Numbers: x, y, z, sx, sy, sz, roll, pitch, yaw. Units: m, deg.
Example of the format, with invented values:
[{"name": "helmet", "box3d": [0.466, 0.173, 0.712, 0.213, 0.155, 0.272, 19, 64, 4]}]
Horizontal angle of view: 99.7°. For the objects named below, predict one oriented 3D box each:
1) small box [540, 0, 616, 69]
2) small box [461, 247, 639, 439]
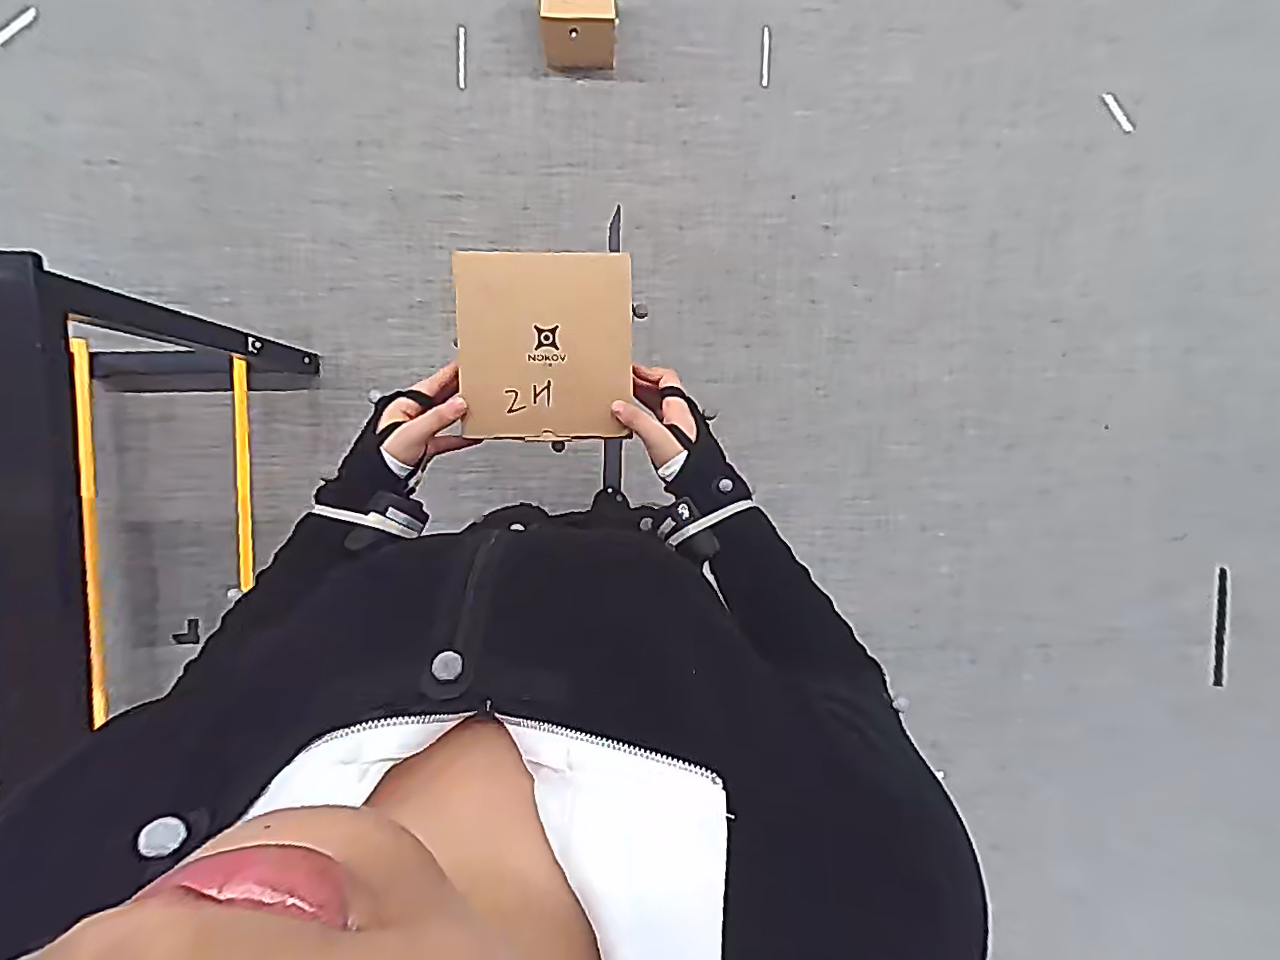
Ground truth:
[{"name": "small box", "box3d": [-0.150, -1.152, 1.328, 0.179, 0.176, 0.168, -3, 94, -4]}, {"name": "small box", "box3d": [-0.087, -0.133, 0.583, 0.168, 0.176, 0.179, -1, 95, -2]}]
